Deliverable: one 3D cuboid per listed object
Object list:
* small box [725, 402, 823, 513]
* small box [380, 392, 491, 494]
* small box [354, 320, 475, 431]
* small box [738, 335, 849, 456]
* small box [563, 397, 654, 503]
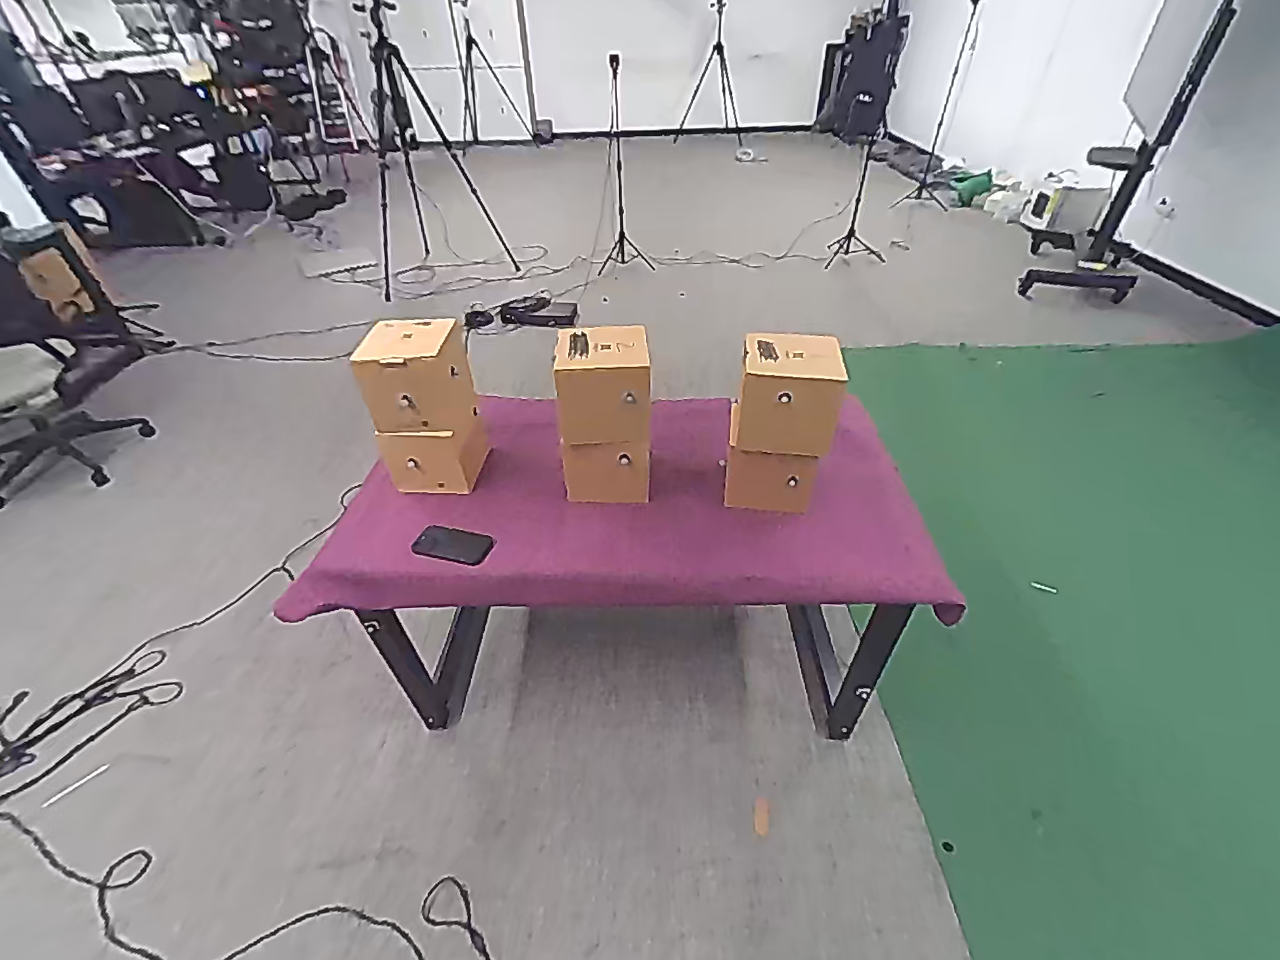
[{"bbox_3d":[0.279,-0.047,1.151,0.179,0.176,0.168,5,41,9],"label":"small box"},{"bbox_3d":[-0.448,-0.083,1.221,0.168,0.176,0.179,1,41,4],"label":"small box"},{"bbox_3d":[-0.452,-0.213,1.121,0.168,0.176,0.179,-1,41,0],"label":"small box"},{"bbox_3d":[0.282,-0.161,1.033,0.179,0.176,0.168,5,41,7],"label":"small box"},{"bbox_3d":[-0.060,-0.064,1.181,0.179,0.176,0.168,1,41,3],"label":"small box"}]
